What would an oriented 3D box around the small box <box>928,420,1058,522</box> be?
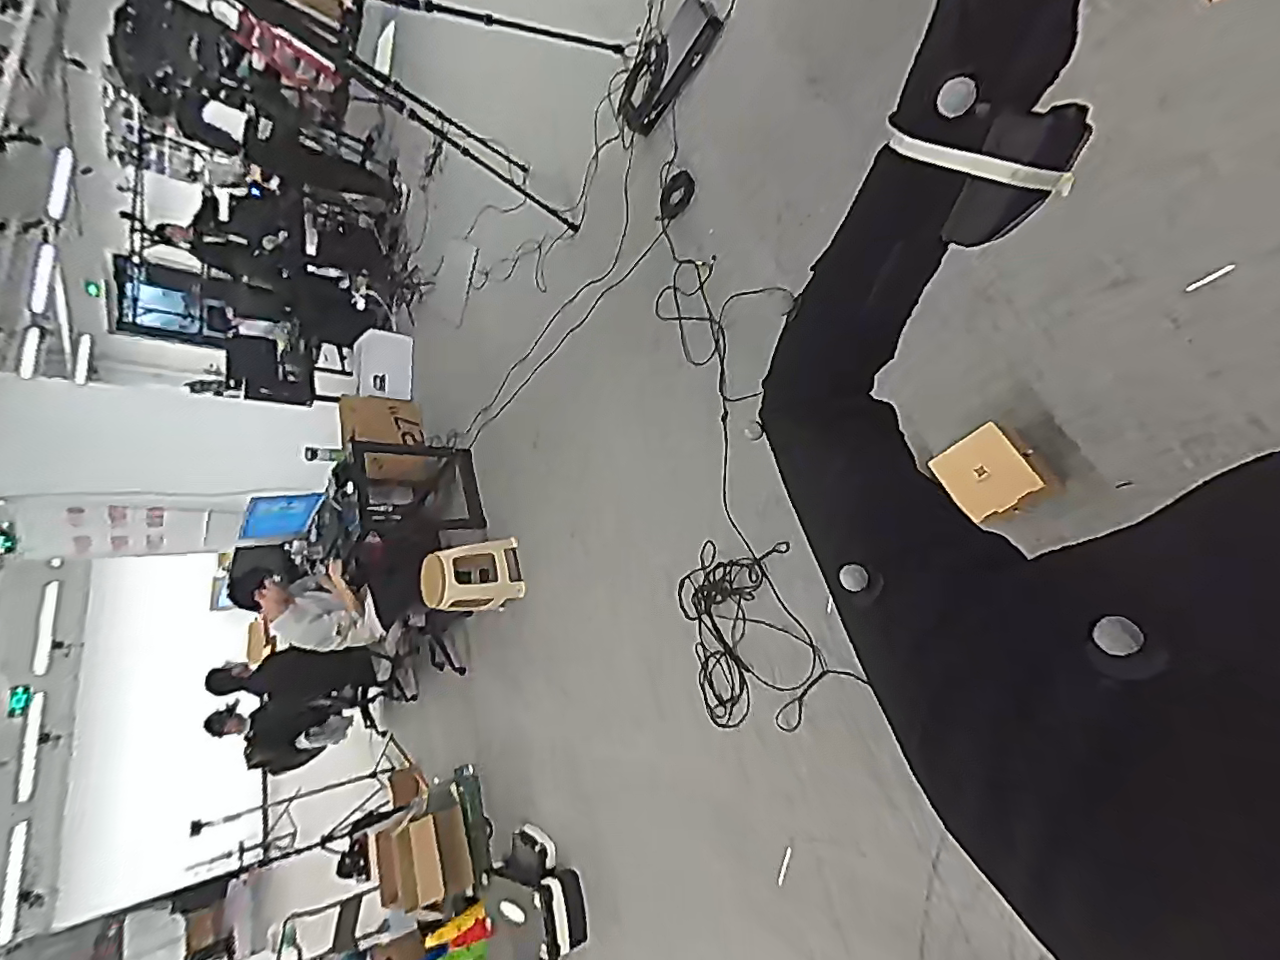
[{"bbox_3d":[0.822,-0.016,1.260,0.168,0.176,0.179,-46,57,37],"label":"small box"}]
